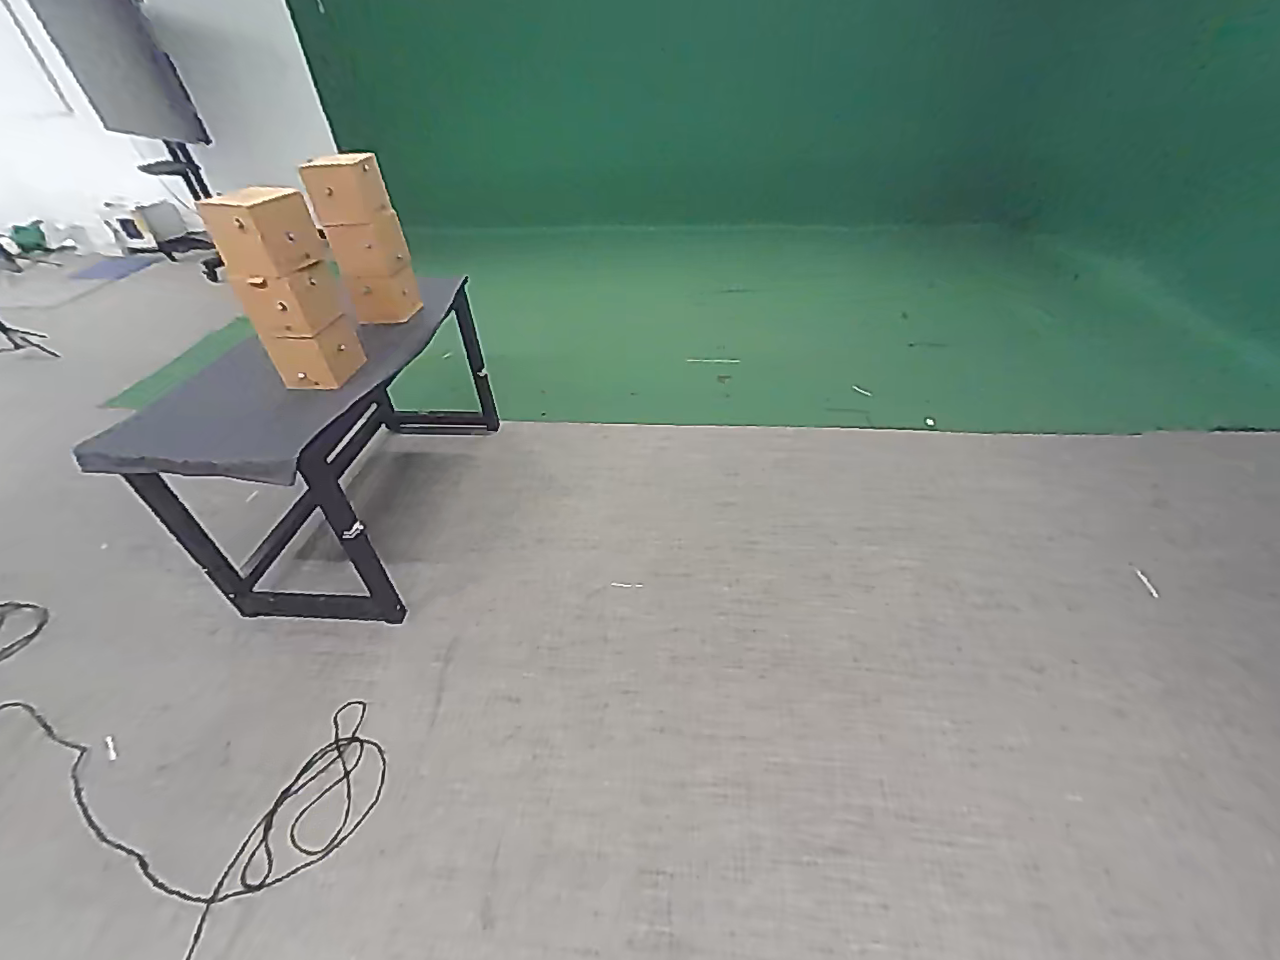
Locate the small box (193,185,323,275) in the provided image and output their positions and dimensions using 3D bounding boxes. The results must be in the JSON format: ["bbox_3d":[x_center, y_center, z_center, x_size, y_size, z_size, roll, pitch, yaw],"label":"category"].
[{"bbox_3d":[-0.952,-0.630,1.367,0.179,0.176,0.168,11,42,16],"label":"small box"}]

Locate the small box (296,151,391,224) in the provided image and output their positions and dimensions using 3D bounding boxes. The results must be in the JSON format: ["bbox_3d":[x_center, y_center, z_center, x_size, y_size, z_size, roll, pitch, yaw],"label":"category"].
[{"bbox_3d":[-0.924,-0.919,1.702,0.179,0.176,0.168,-2,41,4],"label":"small box"}]

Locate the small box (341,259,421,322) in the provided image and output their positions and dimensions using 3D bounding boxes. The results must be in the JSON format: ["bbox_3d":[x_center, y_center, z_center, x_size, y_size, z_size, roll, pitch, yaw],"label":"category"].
[{"bbox_3d":[-0.907,-0.670,1.917,0.179,0.176,0.168,1,41,6],"label":"small box"}]

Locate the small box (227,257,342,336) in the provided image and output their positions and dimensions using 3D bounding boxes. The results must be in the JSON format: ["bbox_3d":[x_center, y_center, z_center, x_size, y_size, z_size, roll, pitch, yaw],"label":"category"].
[{"bbox_3d":[-0.952,-0.503,1.472,0.168,0.176,0.179,3,40,6],"label":"small box"}]

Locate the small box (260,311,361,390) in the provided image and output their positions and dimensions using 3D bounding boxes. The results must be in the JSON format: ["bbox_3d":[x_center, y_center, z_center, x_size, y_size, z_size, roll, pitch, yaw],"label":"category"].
[{"bbox_3d":[-0.948,-0.382,1.580,0.168,0.176,0.179,2,41,6],"label":"small box"}]
